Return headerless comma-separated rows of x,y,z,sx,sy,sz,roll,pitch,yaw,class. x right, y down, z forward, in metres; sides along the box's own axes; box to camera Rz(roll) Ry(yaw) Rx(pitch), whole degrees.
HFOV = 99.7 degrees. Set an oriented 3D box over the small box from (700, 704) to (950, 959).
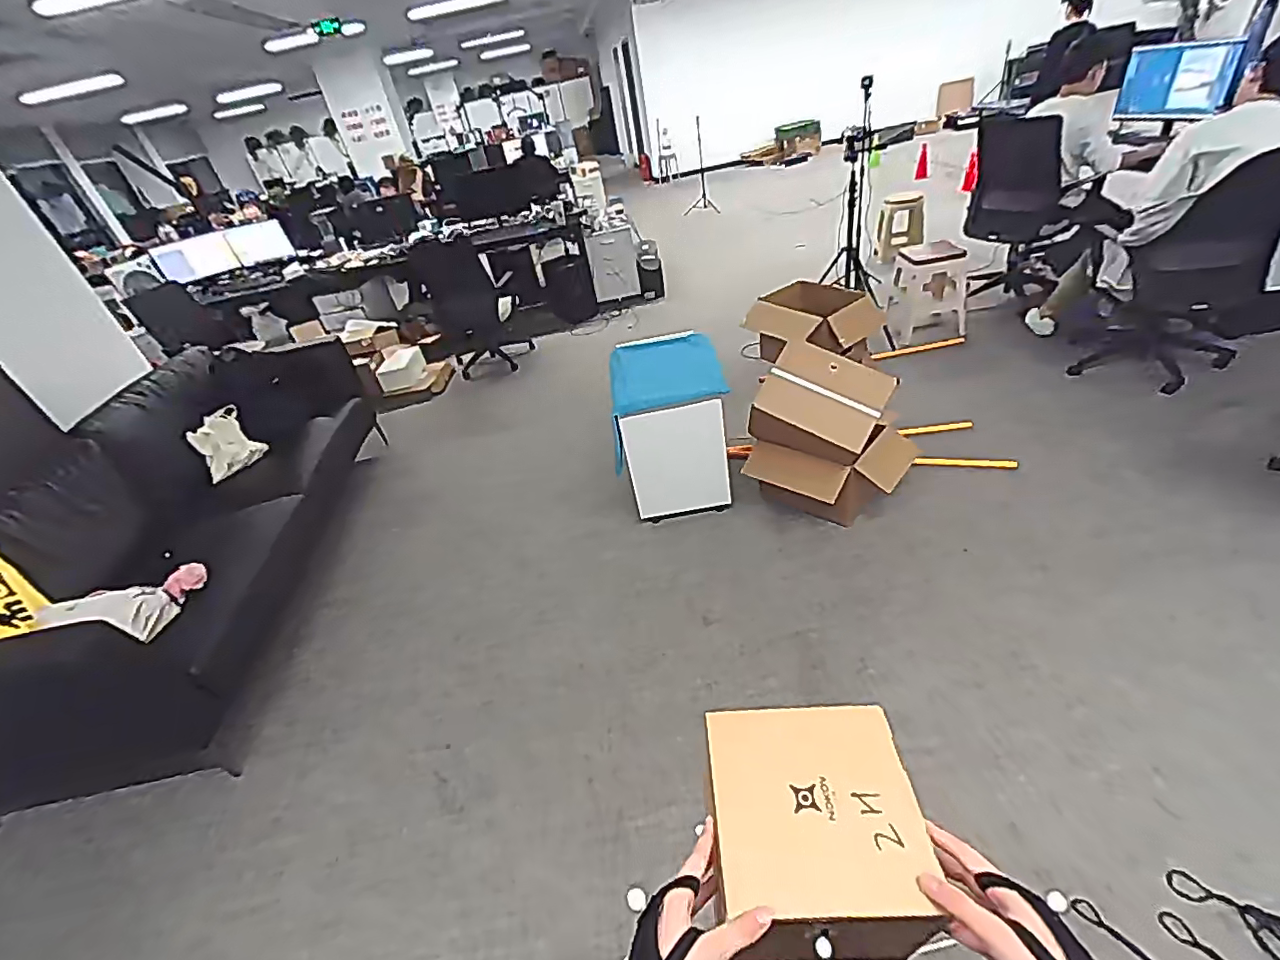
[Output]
0.152,0.335,0.515,0.179,0.176,0.168,-3,40,2,small box
